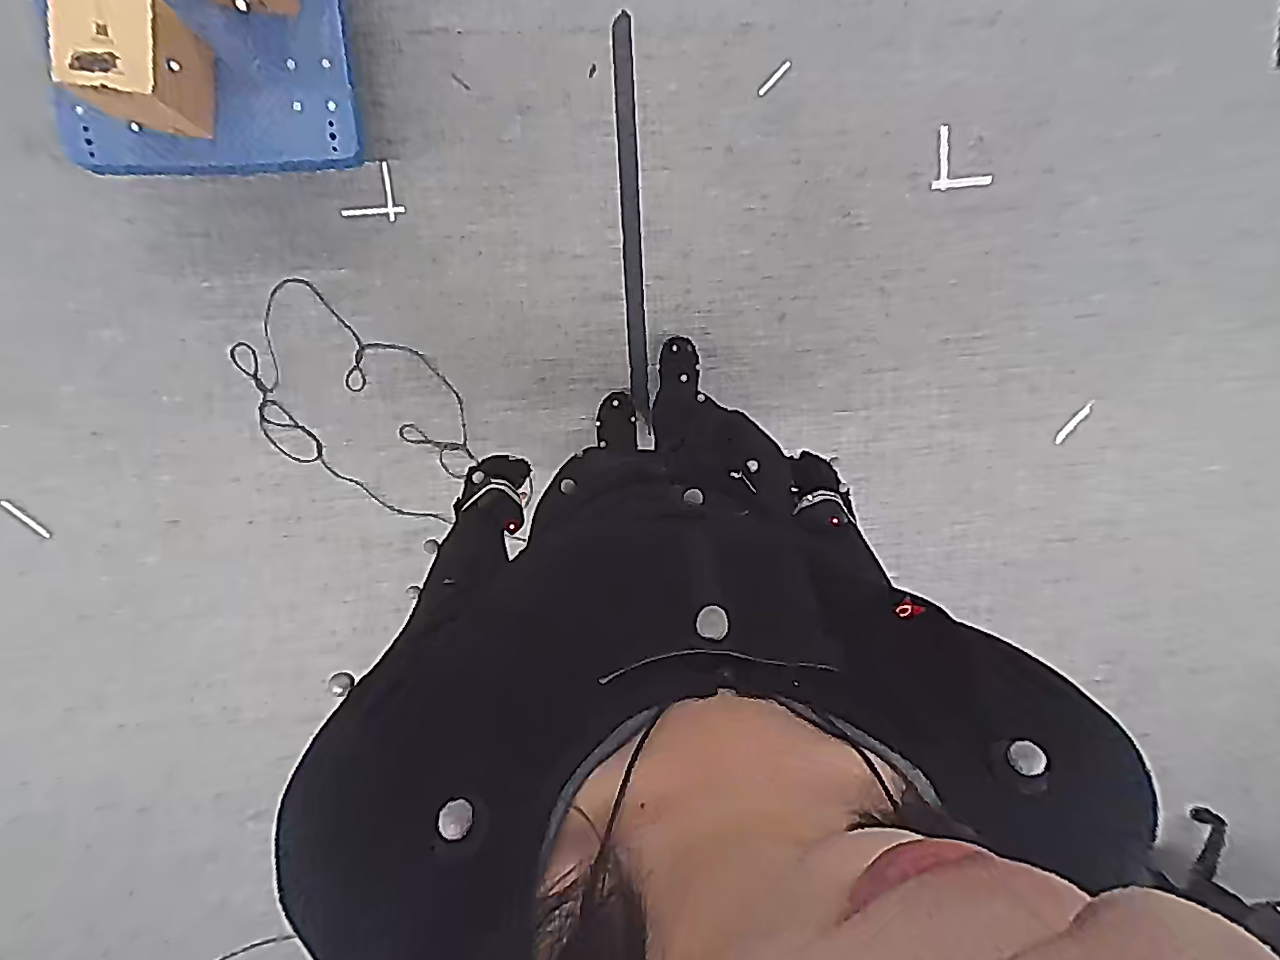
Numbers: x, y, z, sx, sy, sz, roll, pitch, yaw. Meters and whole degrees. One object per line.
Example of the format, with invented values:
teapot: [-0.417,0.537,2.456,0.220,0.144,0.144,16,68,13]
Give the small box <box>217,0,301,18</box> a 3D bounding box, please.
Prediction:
small box: [-0.764,-1.023,1.009,0.168,0.176,0.179,1,100,-4]

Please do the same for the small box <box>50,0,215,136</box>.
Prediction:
small box: [-0.948,-0.789,1.025,0.168,0.176,0.179,5,97,-7]
